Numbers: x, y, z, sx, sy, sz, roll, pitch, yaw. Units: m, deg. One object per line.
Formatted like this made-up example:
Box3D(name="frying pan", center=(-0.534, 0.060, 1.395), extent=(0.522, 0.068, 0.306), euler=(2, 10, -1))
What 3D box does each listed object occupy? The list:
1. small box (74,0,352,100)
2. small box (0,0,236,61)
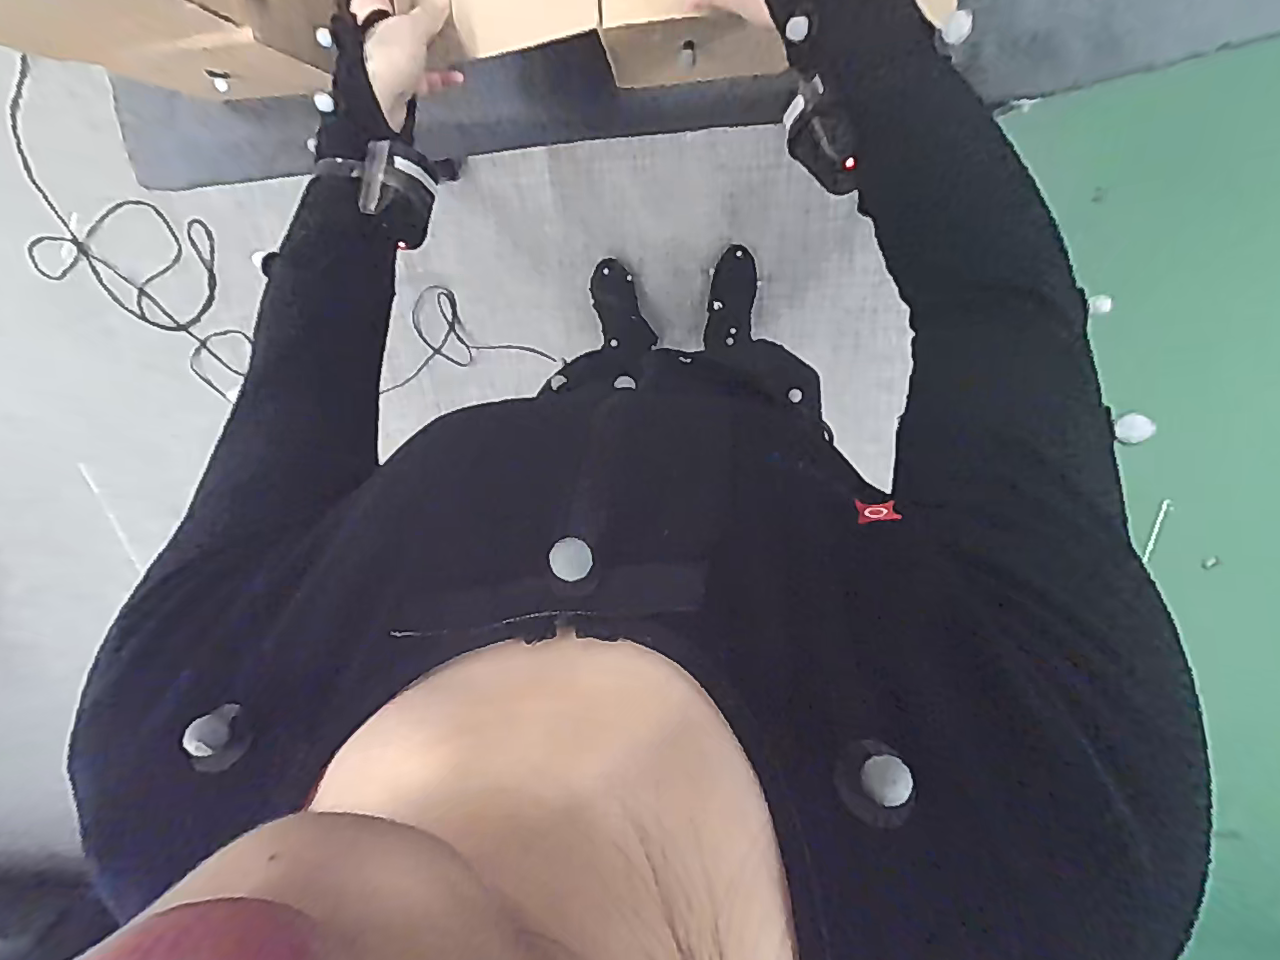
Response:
Box3D(name="small box", center=(-0.391, -0.461, 0.487), extent=(0.179, 0.176, 0.168), euler=(0, 115, 5))
Box3D(name="small box", center=(-0.418, -0.396, 0.340), extent=(0.179, 0.176, 0.168), euler=(-5, 114, 6))
